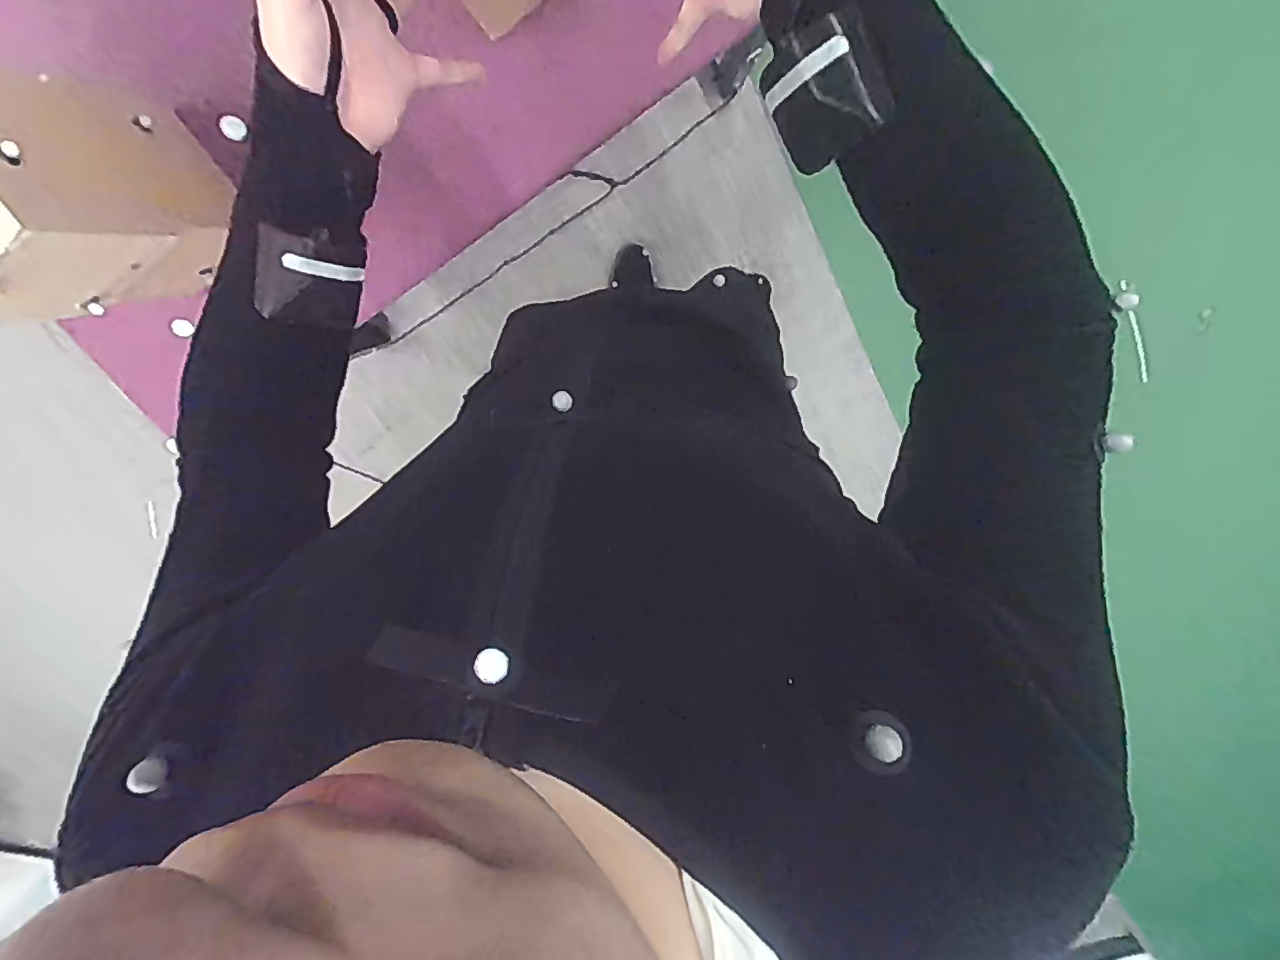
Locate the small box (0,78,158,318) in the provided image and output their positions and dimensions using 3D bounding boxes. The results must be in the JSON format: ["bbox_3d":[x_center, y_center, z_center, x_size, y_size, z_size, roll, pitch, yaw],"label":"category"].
[{"bbox_3d":[-0.636,-0.270,0.515,0.168,0.176,0.179,-30,108,13],"label":"small box"}]

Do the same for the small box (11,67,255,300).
[{"bbox_3d":[-0.638,-0.342,0.661,0.168,0.176,0.179,-30,110,13],"label":"small box"}]
